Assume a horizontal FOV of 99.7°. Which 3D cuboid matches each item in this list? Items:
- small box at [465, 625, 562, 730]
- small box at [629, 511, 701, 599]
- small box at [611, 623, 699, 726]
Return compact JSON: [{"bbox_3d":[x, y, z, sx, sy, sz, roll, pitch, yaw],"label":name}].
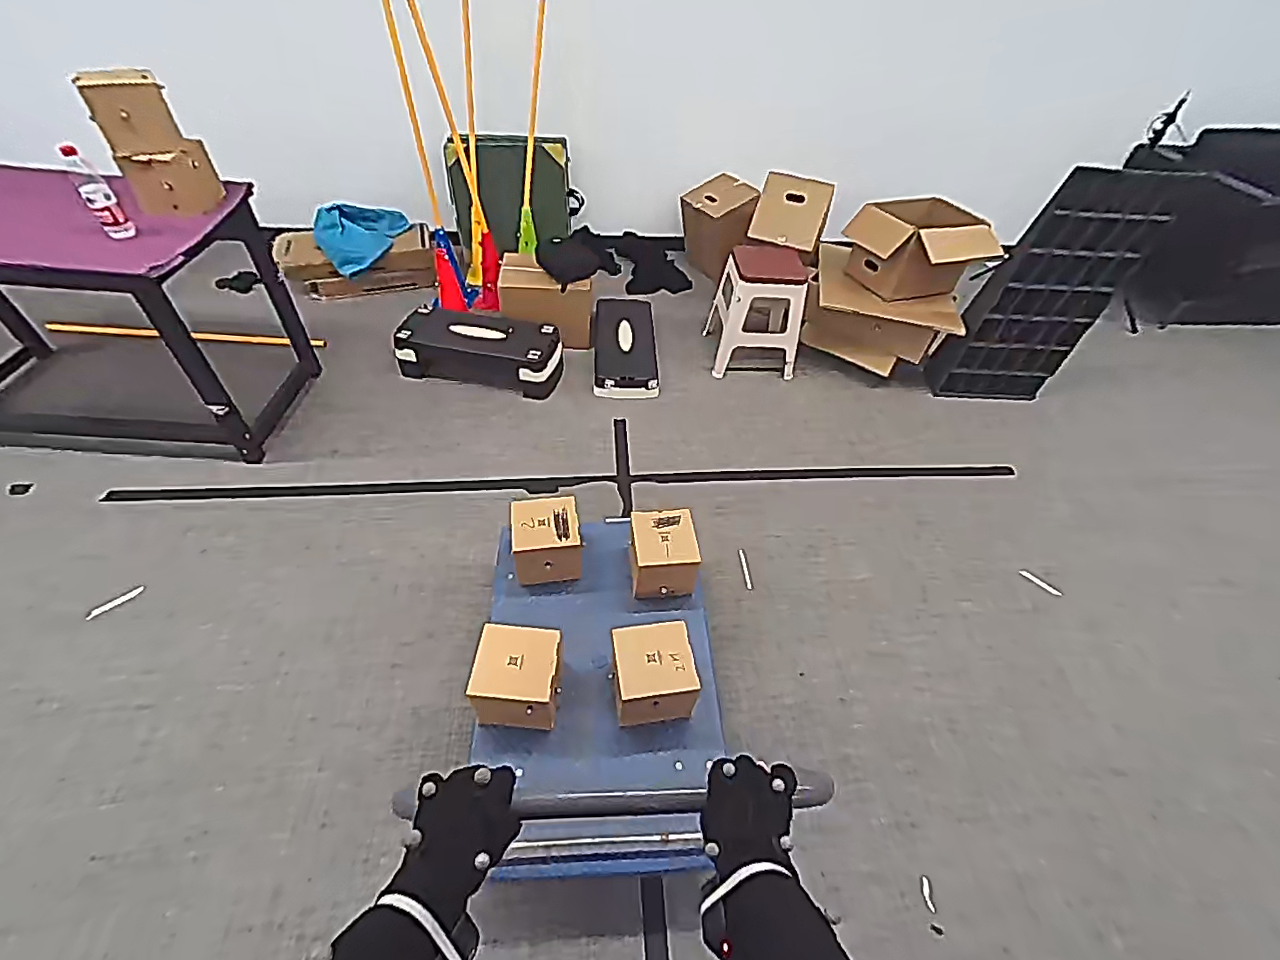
[{"bbox_3d":[-0.276,0.450,1.225,0.179,0.176,0.168,6,47,-2],"label":"small box"},{"bbox_3d":[0.061,0.205,1.479,0.168,0.176,0.179,-3,49,-7],"label":"small box"},{"bbox_3d":[0.027,0.453,1.252,0.179,0.176,0.168,-4,49,-9],"label":"small box"}]
